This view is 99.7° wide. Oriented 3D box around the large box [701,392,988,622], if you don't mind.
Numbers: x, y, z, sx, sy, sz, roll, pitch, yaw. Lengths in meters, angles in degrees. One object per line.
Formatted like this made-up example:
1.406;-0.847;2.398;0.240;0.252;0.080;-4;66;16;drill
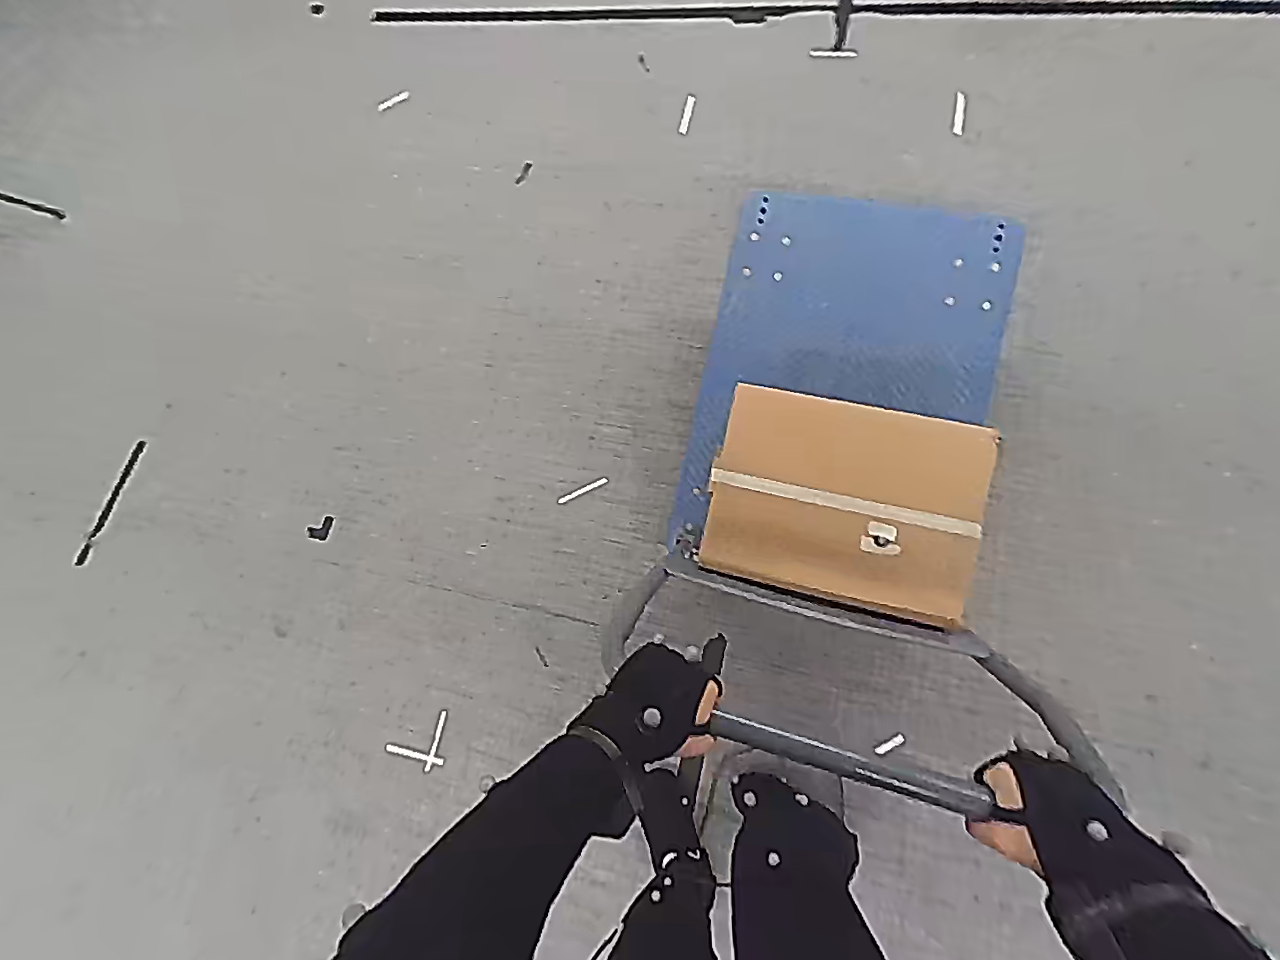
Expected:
0.346;0.043;1.018;0.408;0.320;0.320;12;90;11;large box
